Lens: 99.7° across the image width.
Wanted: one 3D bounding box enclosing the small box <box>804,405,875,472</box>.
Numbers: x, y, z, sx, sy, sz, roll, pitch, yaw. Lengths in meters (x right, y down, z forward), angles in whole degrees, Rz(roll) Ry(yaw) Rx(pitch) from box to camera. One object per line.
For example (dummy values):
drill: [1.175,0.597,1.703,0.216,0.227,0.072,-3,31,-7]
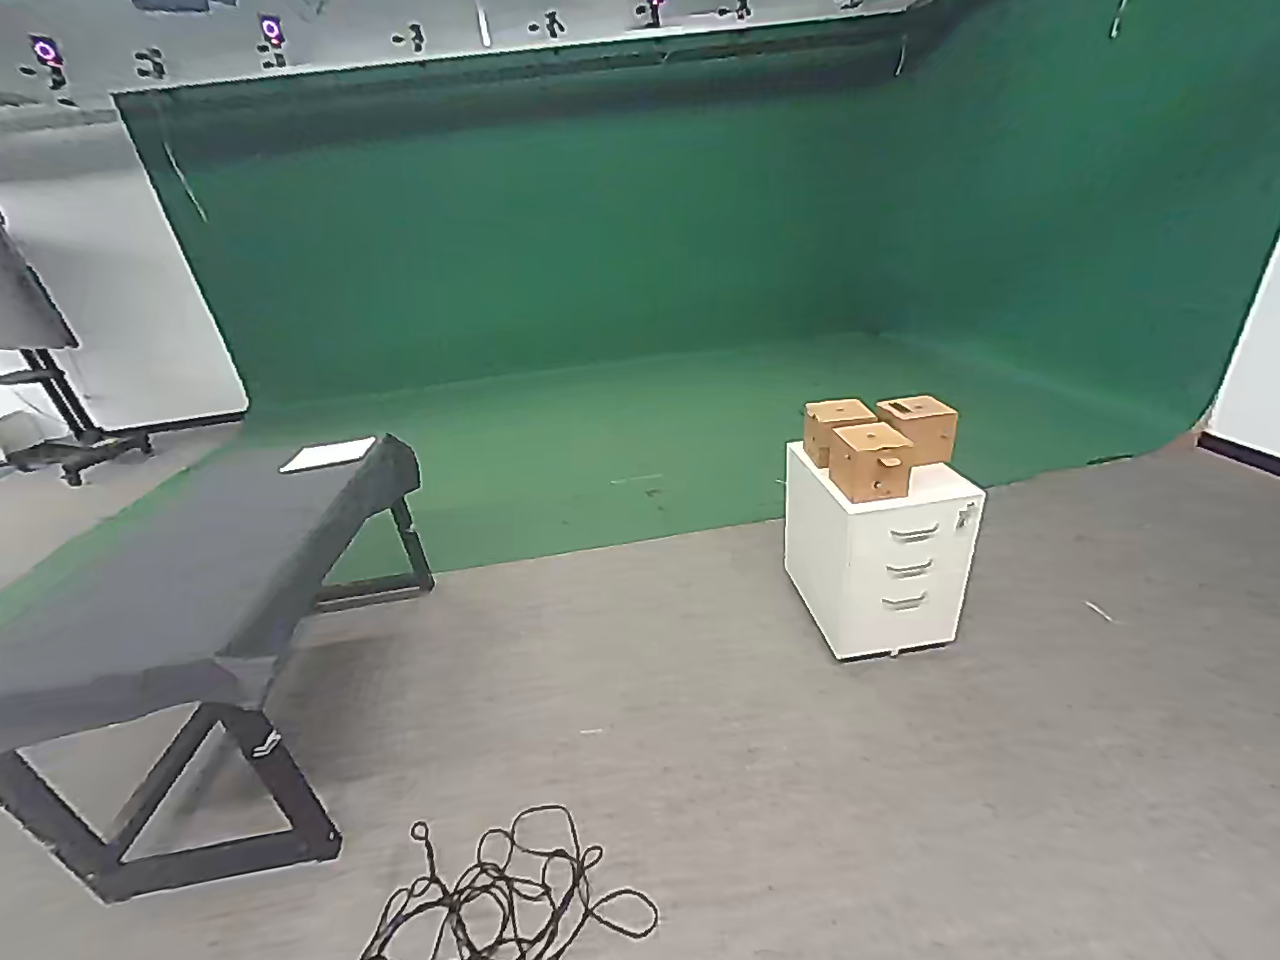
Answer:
small box: [0.649,-0.134,1.779,0.179,0.176,0.168,-5,28,1]
